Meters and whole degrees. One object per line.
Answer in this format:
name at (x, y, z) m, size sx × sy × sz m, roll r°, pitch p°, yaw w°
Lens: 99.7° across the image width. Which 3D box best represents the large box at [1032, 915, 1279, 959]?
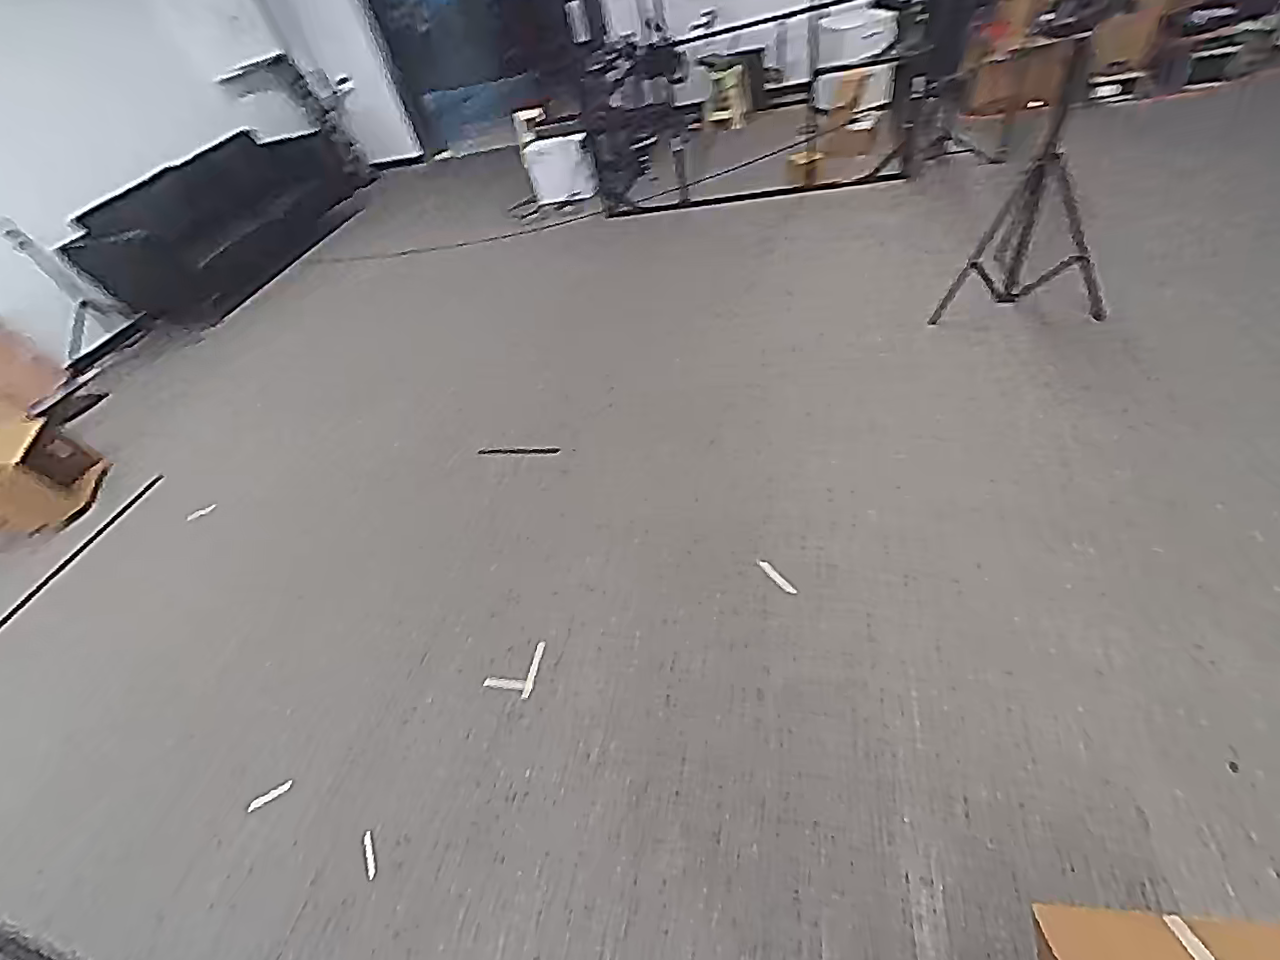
large box at (0.635, 0.721, 0.497) m, size 0.320 × 0.408 × 0.320 m, roll -8°, pitch 88°, yaw 17°
